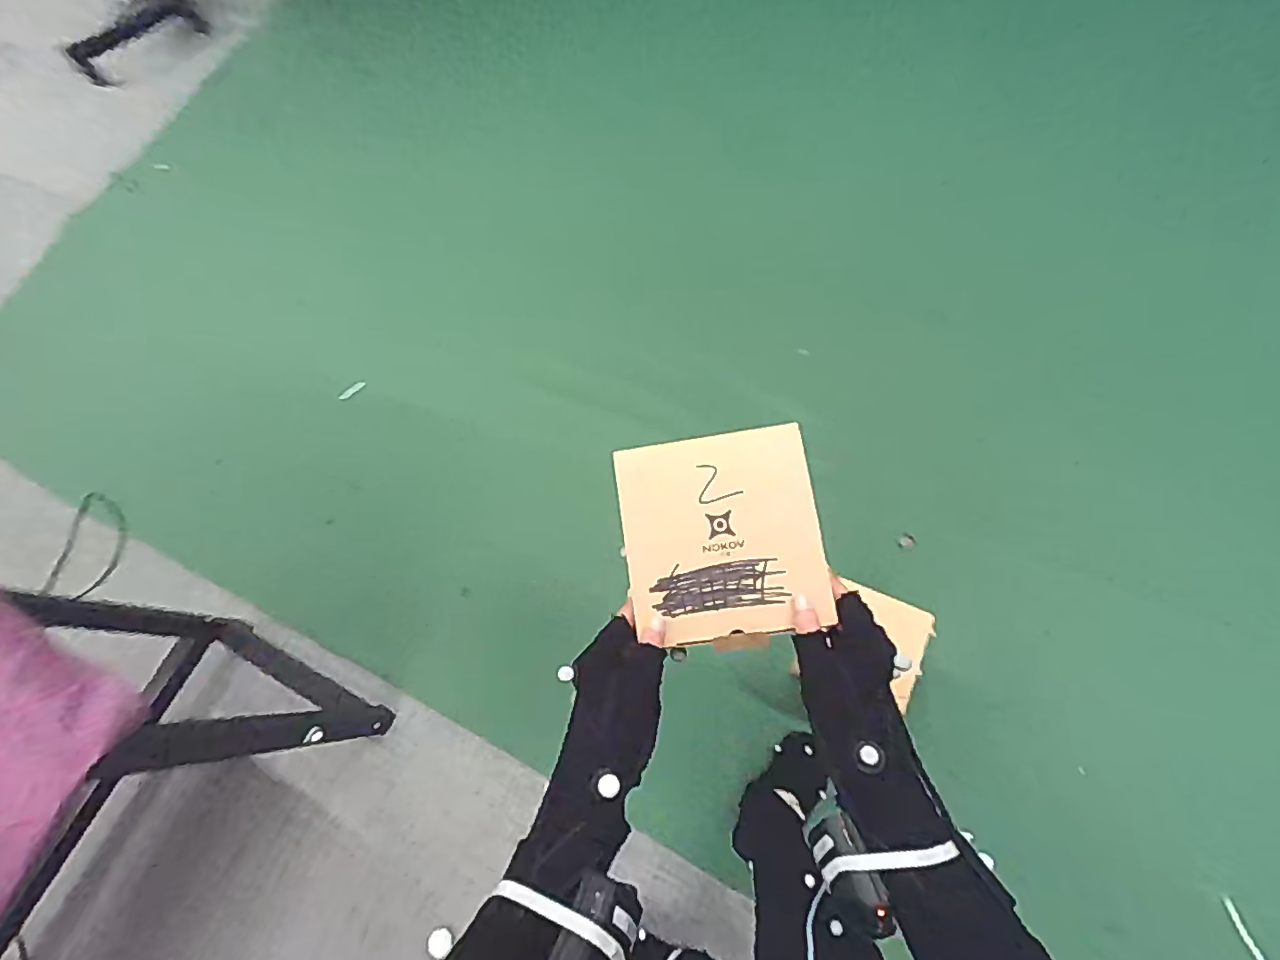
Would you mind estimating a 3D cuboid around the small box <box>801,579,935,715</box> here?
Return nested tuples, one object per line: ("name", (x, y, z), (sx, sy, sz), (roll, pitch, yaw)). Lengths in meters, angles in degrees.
("small box", (0.410, 0.308, 1.001), (0.168, 0.176, 0.179), (22, 75, 17))

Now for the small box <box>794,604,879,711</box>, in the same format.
("small box", (0.439, 0.366, 1.151), (0.168, 0.176, 0.179), (23, 76, 18))
